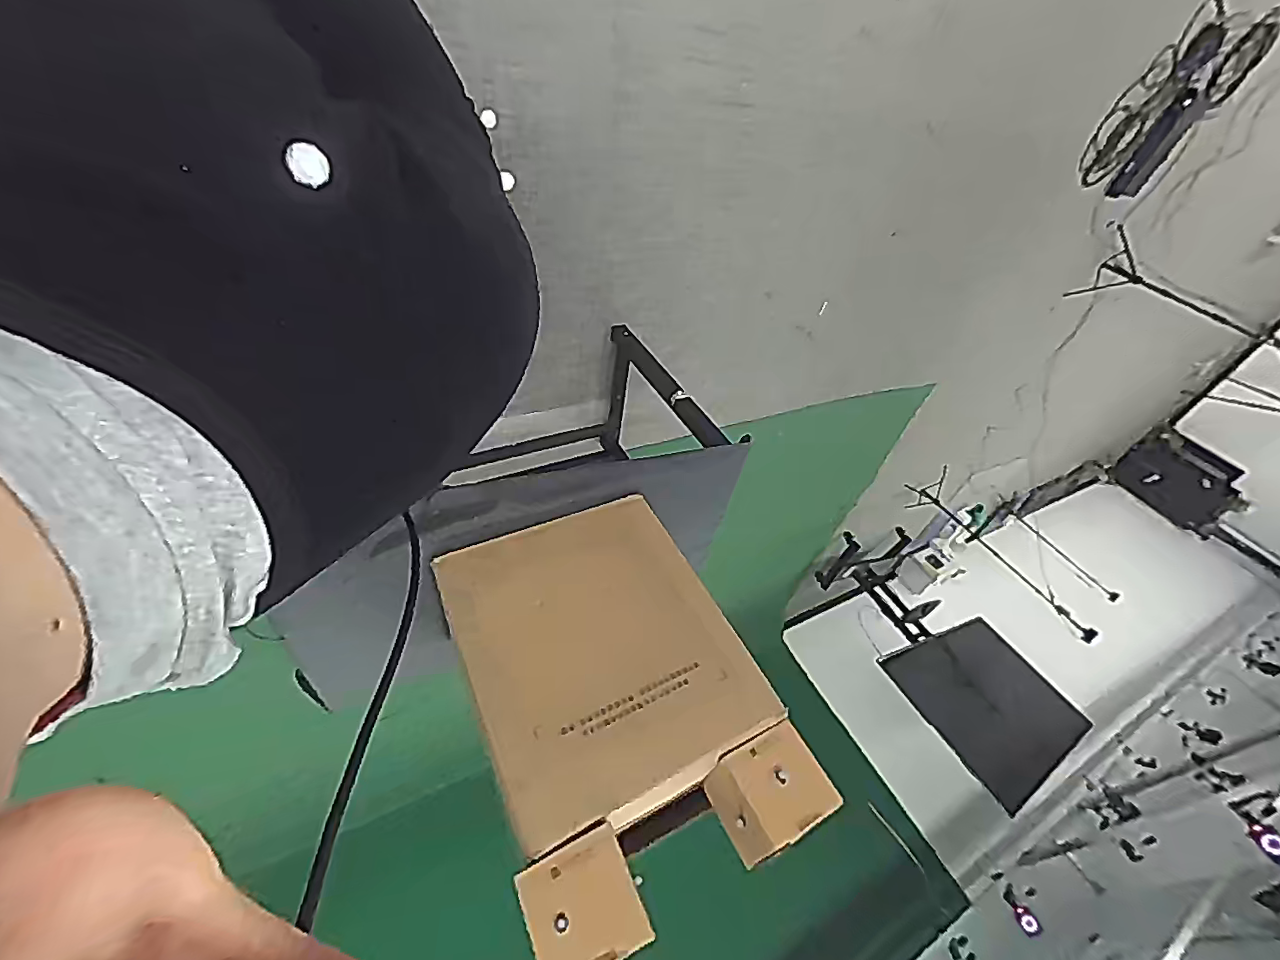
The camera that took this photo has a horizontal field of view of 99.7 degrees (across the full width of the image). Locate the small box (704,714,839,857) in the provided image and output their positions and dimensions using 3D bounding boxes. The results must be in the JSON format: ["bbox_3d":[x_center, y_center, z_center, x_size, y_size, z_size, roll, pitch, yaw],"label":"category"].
[{"bbox_3d":[0.248,0.592,1.064,0.168,0.176,0.179,-18,142,-26],"label":"small box"}]

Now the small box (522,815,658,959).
[{"bbox_3d":[-0.084,0.686,0.893,0.168,0.176,0.179,-21,144,-17],"label":"small box"}]
